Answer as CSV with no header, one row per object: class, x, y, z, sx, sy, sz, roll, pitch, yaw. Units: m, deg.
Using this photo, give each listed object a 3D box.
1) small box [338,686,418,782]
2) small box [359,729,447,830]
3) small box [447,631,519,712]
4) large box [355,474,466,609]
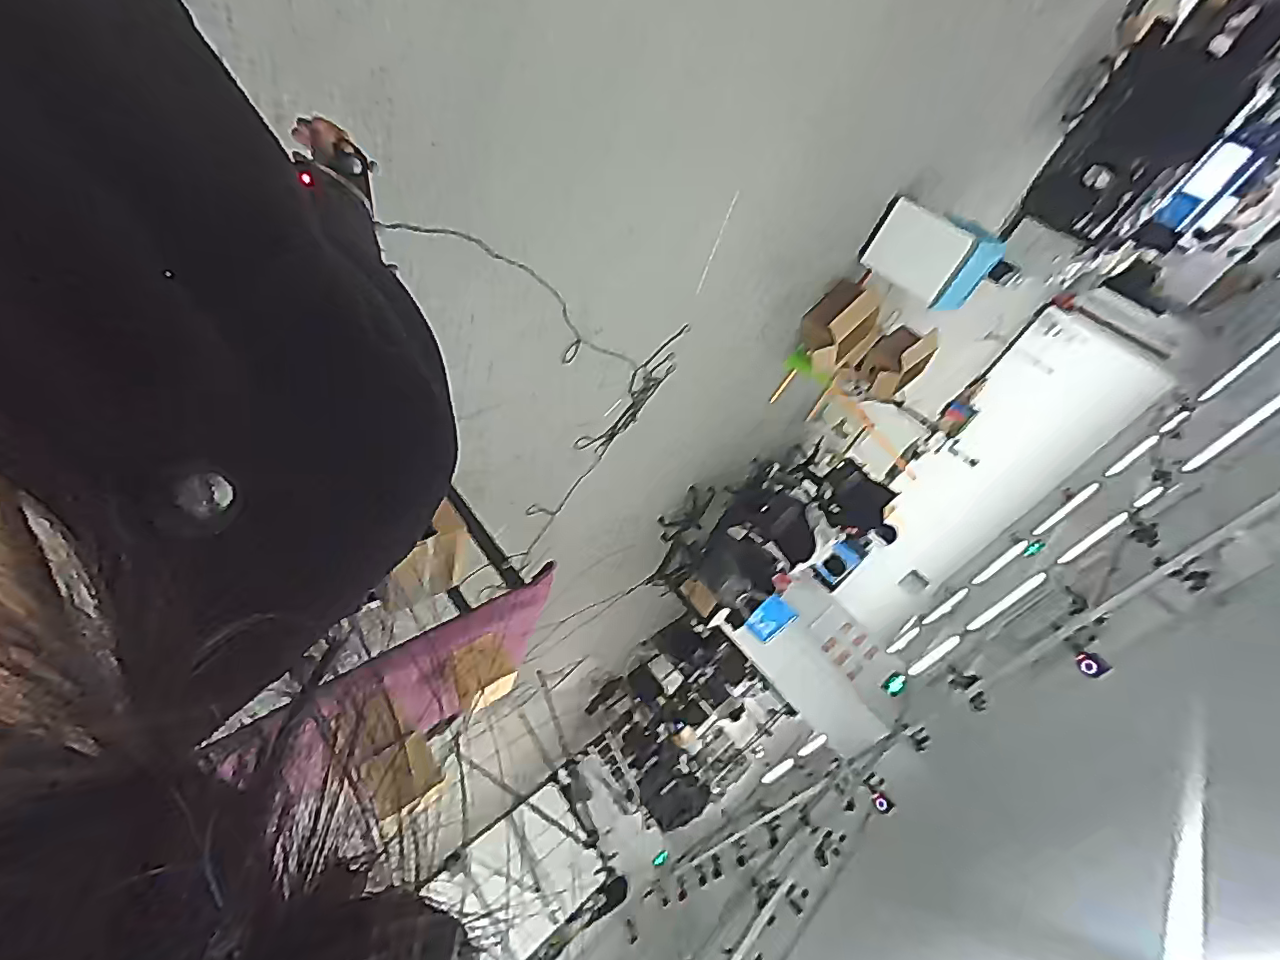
small box,-0.797,0.763,1.636,0.179,0.176,0.168,-23,150,-40
small box,-0.685,0.859,1.563,0.179,0.176,0.168,-23,150,-39
small box,-0.545,0.654,1.856,0.168,0.176,0.179,-21,148,-41
large box,-0.940,0.245,2.207,0.320,0.320,0.408,-21,147,-40
